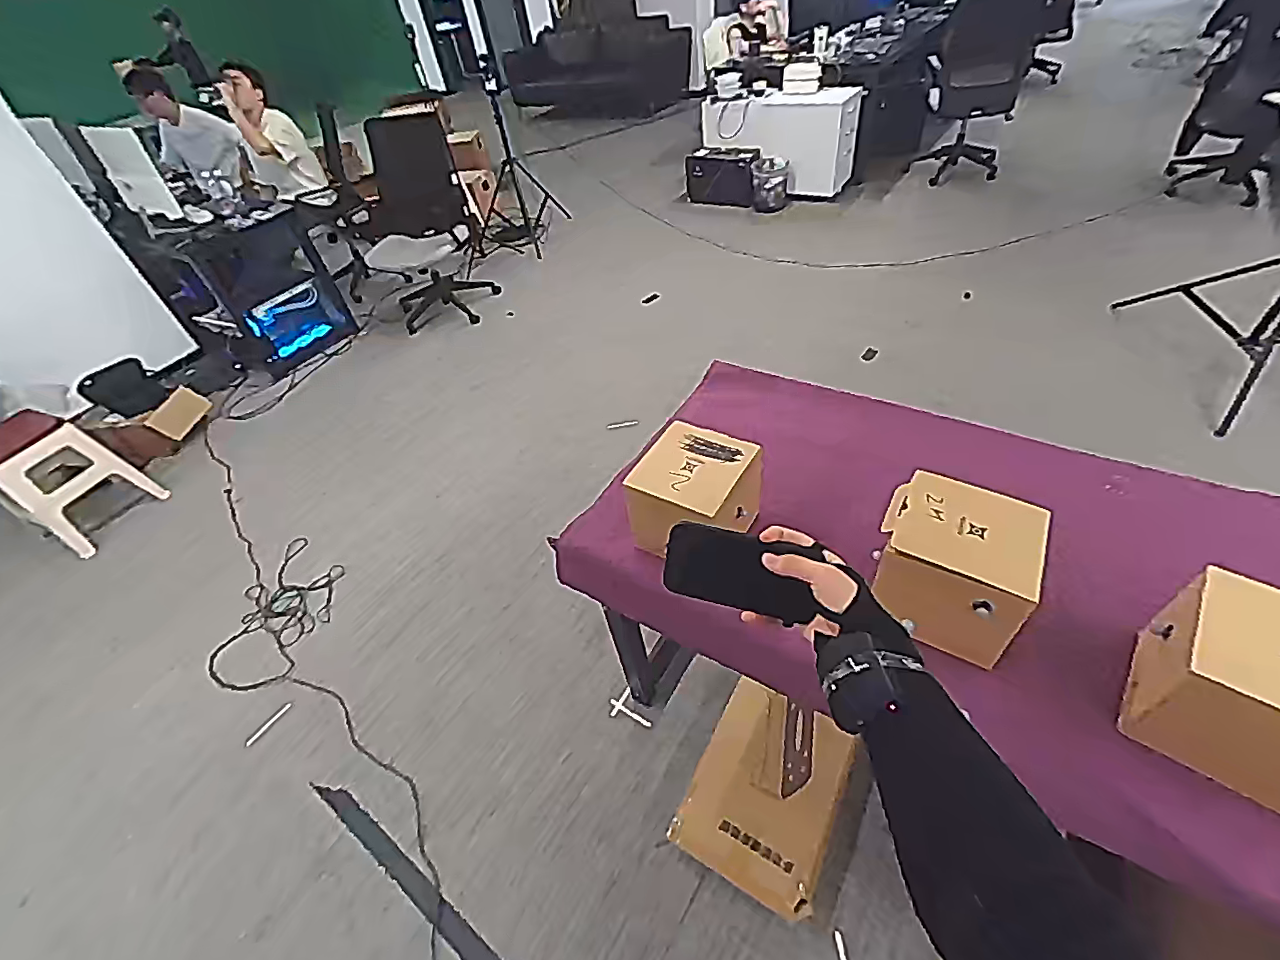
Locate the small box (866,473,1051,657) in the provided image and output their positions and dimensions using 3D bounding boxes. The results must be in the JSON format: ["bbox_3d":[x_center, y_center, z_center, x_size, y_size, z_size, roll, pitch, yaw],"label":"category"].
[{"bbox_3d":[0.443,0.123,0.769,0.179,0.176,0.168,19,49,27],"label":"small box"}]

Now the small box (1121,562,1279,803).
[{"bbox_3d":[0.699,0.232,0.614,0.179,0.176,0.168,26,55,31],"label":"small box"}]
